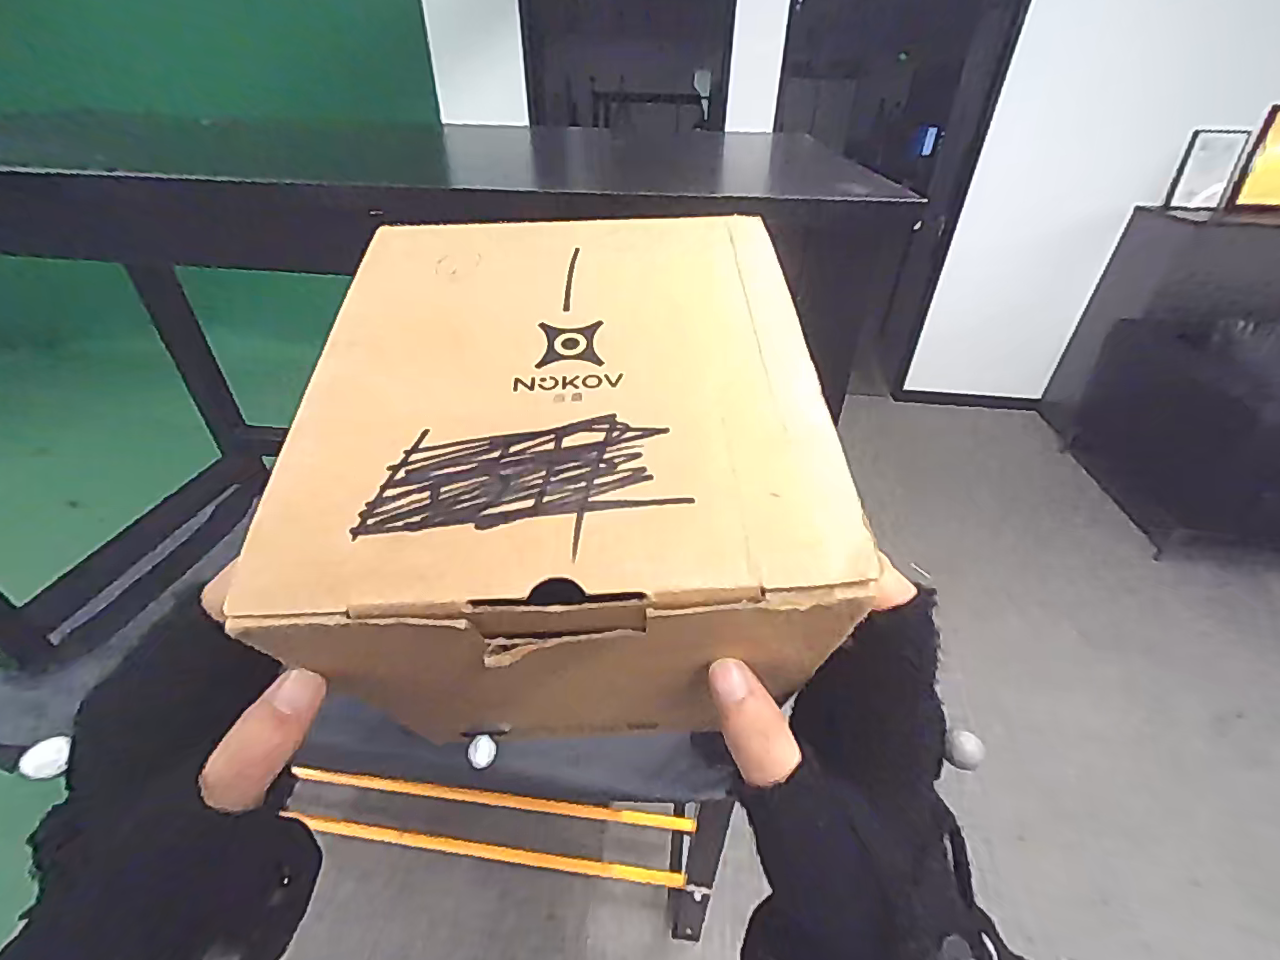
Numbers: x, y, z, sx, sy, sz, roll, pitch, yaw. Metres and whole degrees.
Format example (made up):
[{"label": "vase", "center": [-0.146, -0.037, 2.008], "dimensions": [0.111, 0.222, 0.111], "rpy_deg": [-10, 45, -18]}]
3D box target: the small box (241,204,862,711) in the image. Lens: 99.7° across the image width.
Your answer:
[{"label": "small box", "center": [-0.024, 0.000, 0.251], "dimensions": [0.168, 0.176, 0.179], "rpy_deg": [-2, 54, -2]}]
